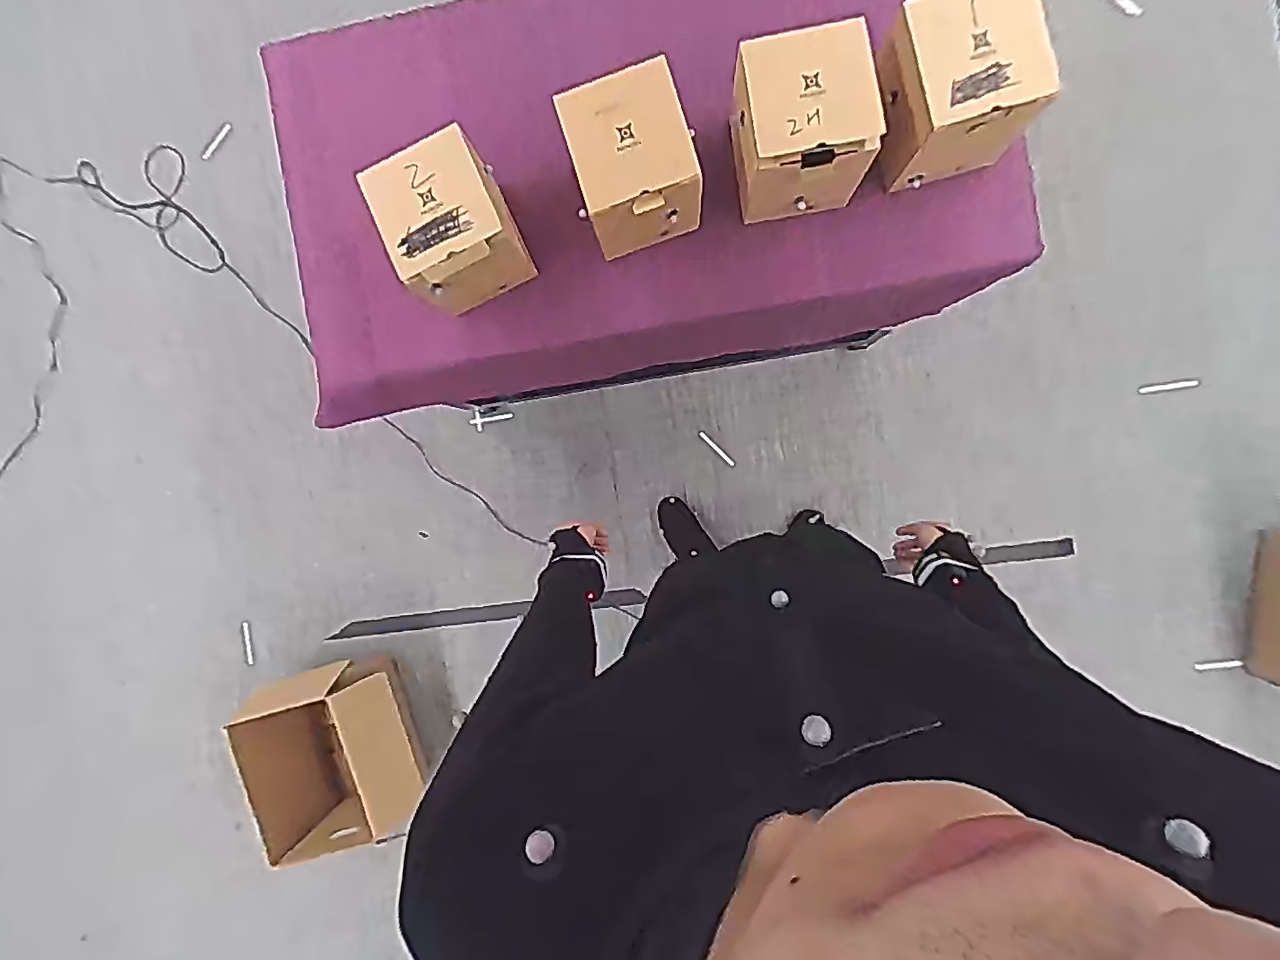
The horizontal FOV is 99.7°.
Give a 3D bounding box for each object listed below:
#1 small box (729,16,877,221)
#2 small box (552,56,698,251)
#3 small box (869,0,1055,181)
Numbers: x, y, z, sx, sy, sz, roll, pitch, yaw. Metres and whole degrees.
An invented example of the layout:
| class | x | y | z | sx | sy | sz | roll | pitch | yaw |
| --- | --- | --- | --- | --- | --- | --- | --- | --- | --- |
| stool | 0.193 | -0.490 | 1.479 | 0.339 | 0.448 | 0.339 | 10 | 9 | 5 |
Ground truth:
| class | x | y | z | sx | sy | sz | roll | pitch | yaw |
| --- | --- | --- | --- | --- | --- | --- | --- | --- | --- |
| small box | 0.228 | -0.516 | 0.796 | 0.168 | 0.176 | 0.179 | -8 | 91 | 5 |
| small box | -0.014 | -0.472 | 0.818 | 0.168 | 0.176 | 0.179 | -18 | 89 | 4 |
| small box | 0.442 | -0.563 | 0.779 | 0.168 | 0.176 | 0.179 | -14 | 89 | 5 |
